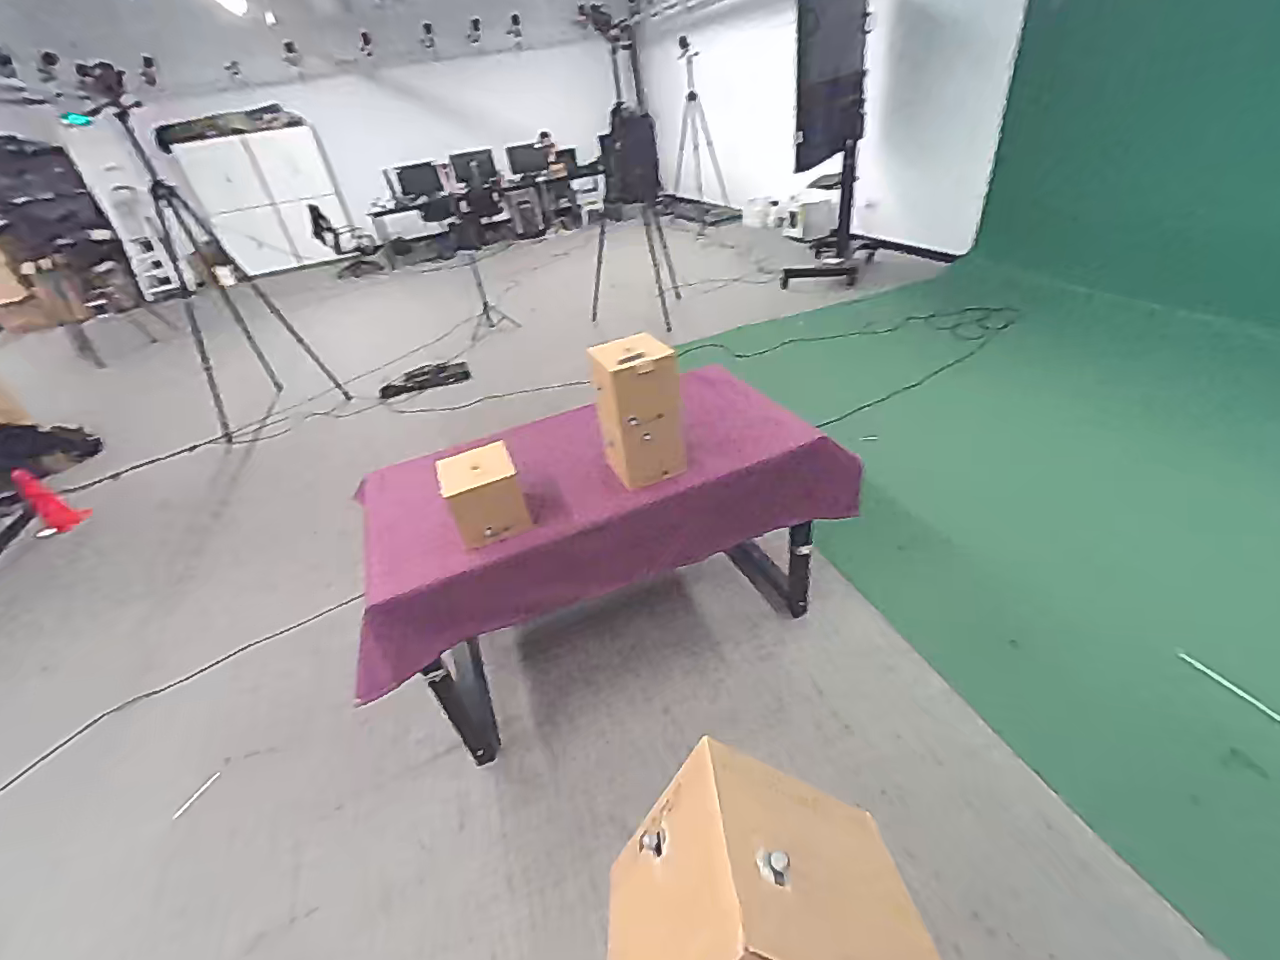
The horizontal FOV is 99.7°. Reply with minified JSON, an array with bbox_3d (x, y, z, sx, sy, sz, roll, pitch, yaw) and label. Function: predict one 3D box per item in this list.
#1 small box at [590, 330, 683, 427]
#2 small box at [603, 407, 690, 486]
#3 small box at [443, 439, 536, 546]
[{"bbox_3d":[-0.005,-0.244,1.324,0.168,0.176,0.179,-20,36,-15],"label":"small box"},{"bbox_3d":[0.017,-0.111,1.418,0.168,0.176,0.179,-21,36,-13],"label":"small box"},{"bbox_3d":[-0.365,0.030,1.315,0.168,0.176,0.179,-20,37,-13],"label":"small box"}]
